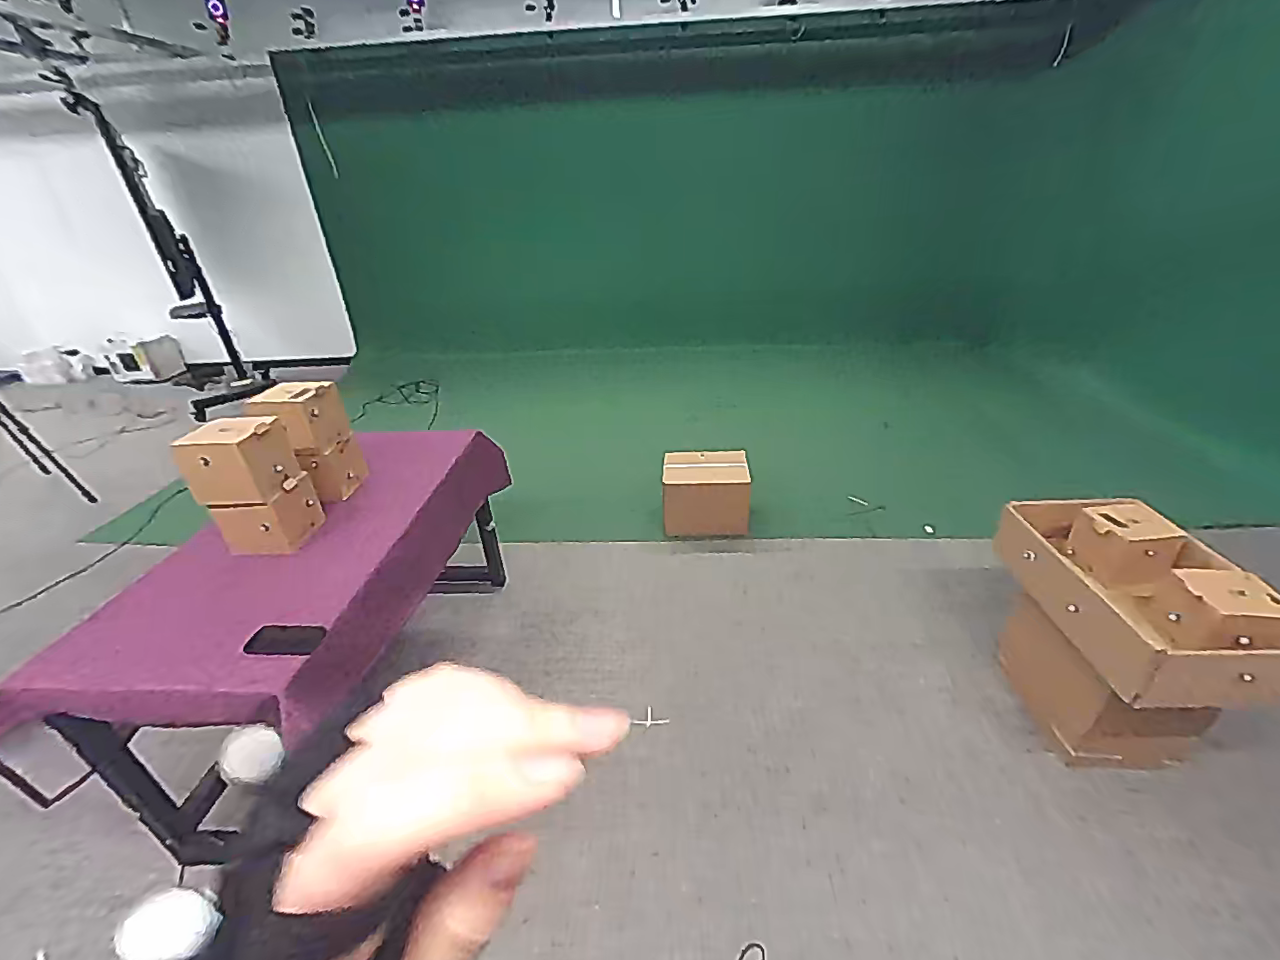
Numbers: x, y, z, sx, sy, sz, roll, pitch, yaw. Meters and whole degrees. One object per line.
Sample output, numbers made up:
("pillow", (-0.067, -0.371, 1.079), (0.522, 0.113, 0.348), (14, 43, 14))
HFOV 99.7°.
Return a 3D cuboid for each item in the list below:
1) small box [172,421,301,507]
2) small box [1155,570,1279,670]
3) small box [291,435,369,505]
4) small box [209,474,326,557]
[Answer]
("small box", (-1.018, -0.041, 1.382), (0.179, 0.176, 0.168), (-2, 29, 3))
("small box", (1.397, 0.335, 1.298), (0.179, 0.176, 0.168), (1, 30, 10))
("small box", (-0.995, -0.032, 1.702), (0.179, 0.176, 0.168), (-1, 29, 3))
("small box", (-0.999, 0.098, 1.471), (0.179, 0.176, 0.168), (-2, 29, 4))
